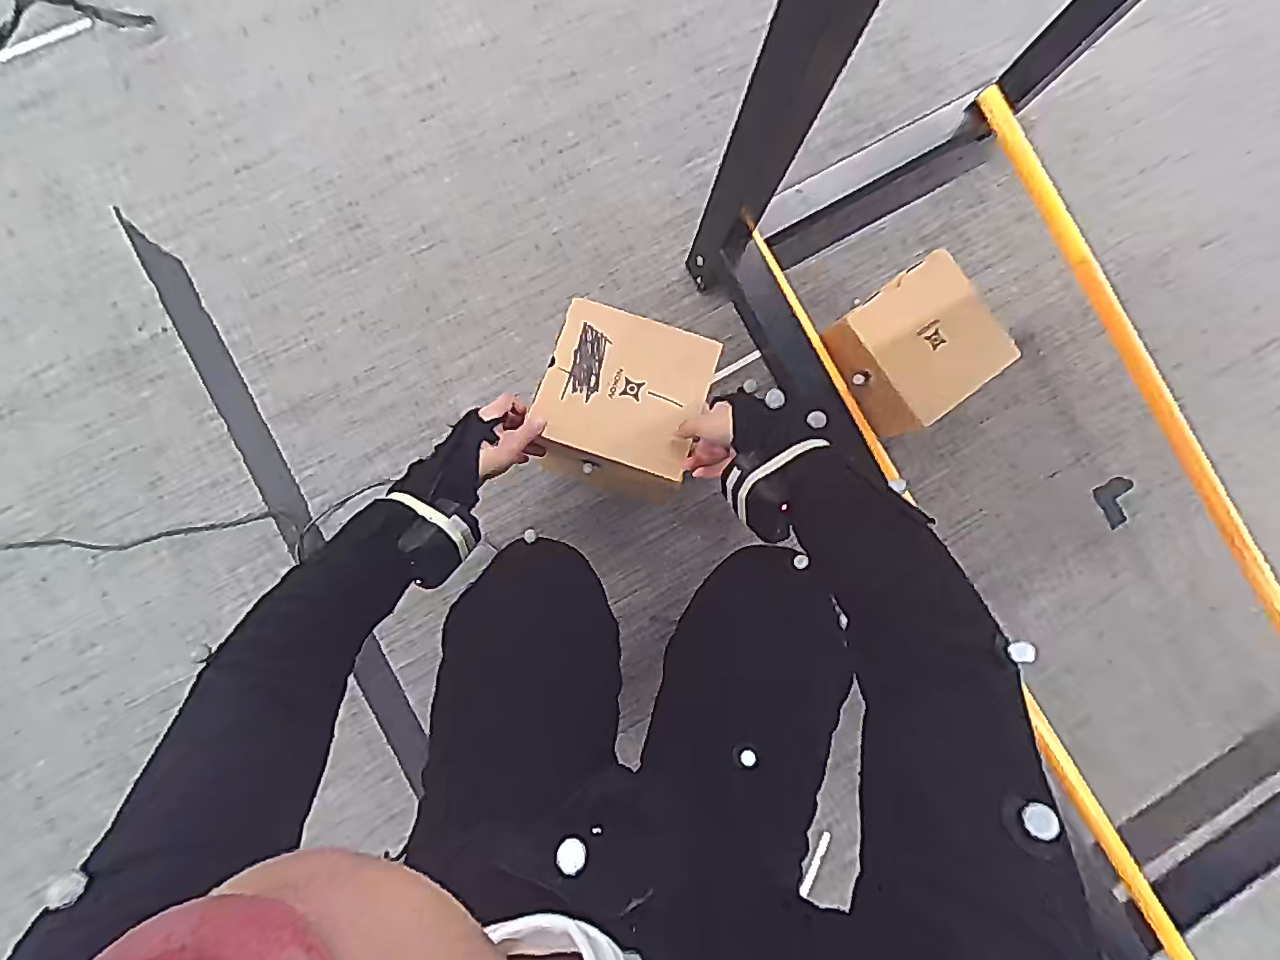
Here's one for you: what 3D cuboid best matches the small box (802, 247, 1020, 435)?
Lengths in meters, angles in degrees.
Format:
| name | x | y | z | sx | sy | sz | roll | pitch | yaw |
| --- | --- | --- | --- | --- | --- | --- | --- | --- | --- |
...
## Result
| name | x | y | z | sx | sy | sz | roll | pitch | yaw |
| --- | --- | --- | --- | --- | --- | --- | --- | --- | --- |
| small box | 0.363 | -0.177 | 0.758 | 0.168 | 0.176 | 0.179 | -36 | 89 | -6 |
